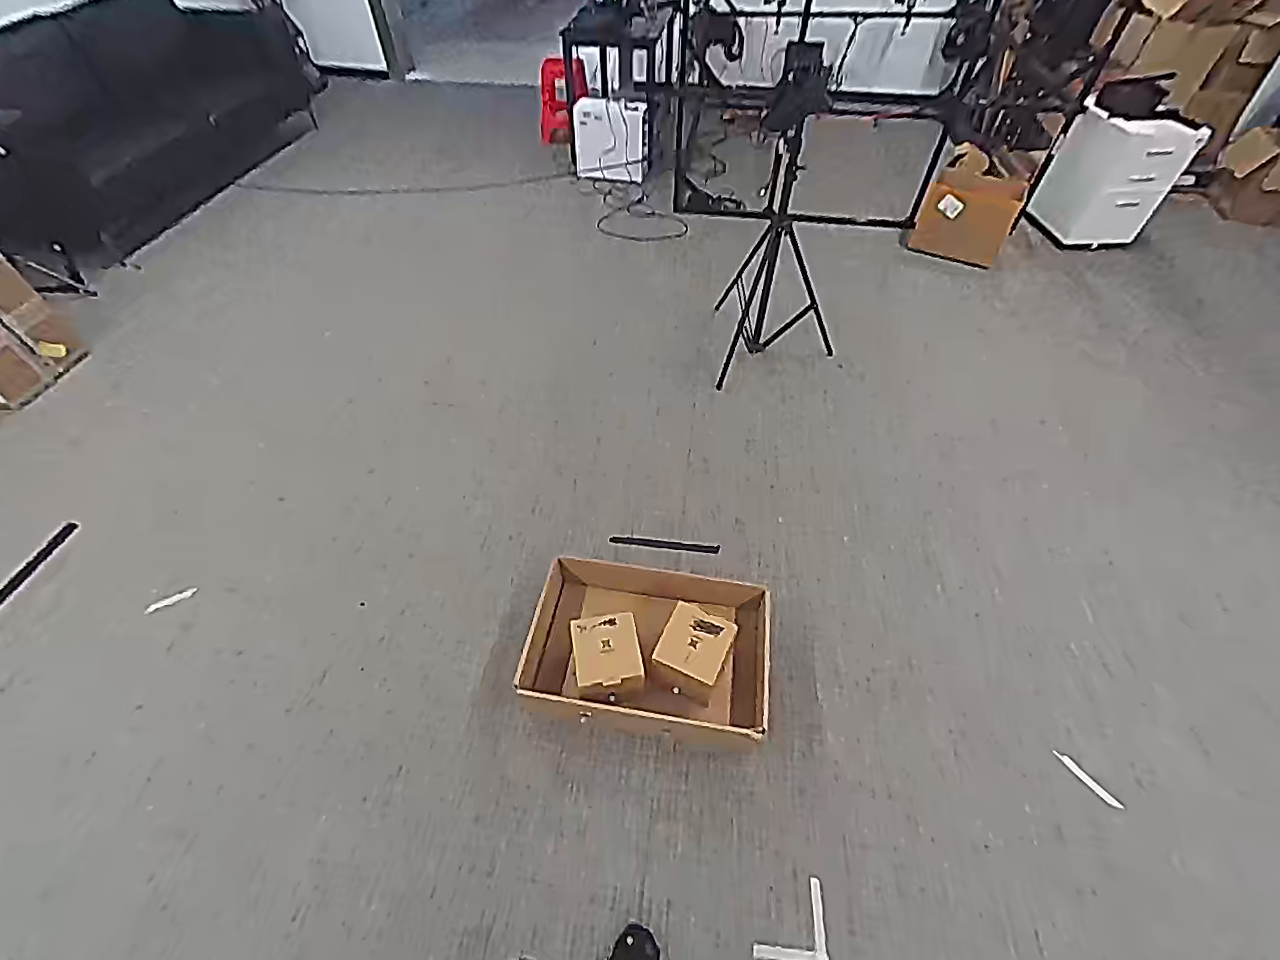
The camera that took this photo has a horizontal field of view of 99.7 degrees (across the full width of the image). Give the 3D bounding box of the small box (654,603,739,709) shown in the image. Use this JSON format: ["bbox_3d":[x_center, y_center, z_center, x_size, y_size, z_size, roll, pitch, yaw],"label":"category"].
[{"bbox_3d":[0.142,0.461,1.413,0.168,0.176,0.179,20,53,18],"label":"small box"}]
